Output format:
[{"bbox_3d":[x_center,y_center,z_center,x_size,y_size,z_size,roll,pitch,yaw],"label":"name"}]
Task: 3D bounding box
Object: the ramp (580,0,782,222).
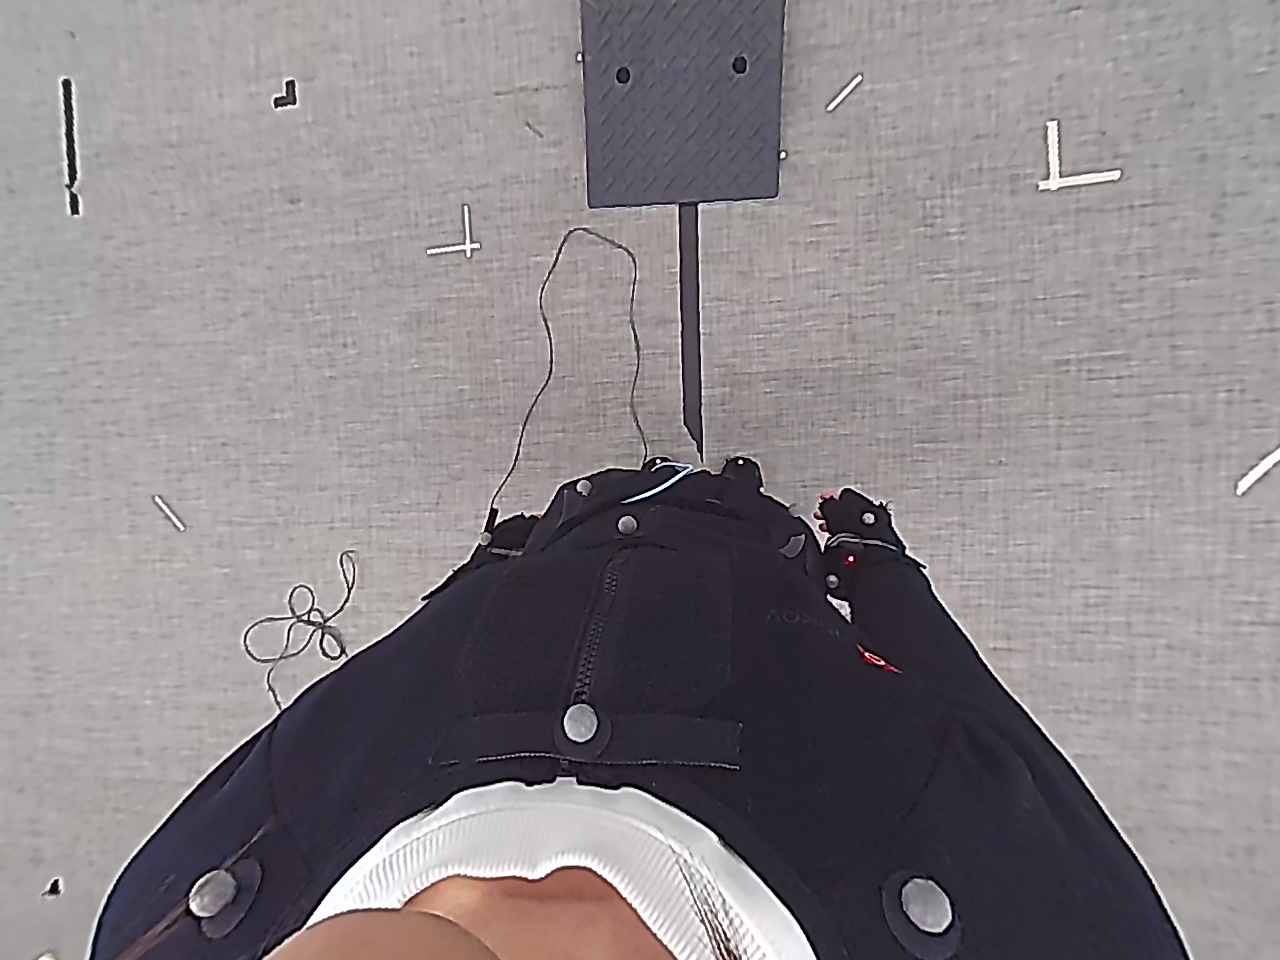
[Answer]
[{"bbox_3d":[0.096,-1.184,1.314,0.509,0.206,0.991,-2,92,8],"label":"ramp"}]
